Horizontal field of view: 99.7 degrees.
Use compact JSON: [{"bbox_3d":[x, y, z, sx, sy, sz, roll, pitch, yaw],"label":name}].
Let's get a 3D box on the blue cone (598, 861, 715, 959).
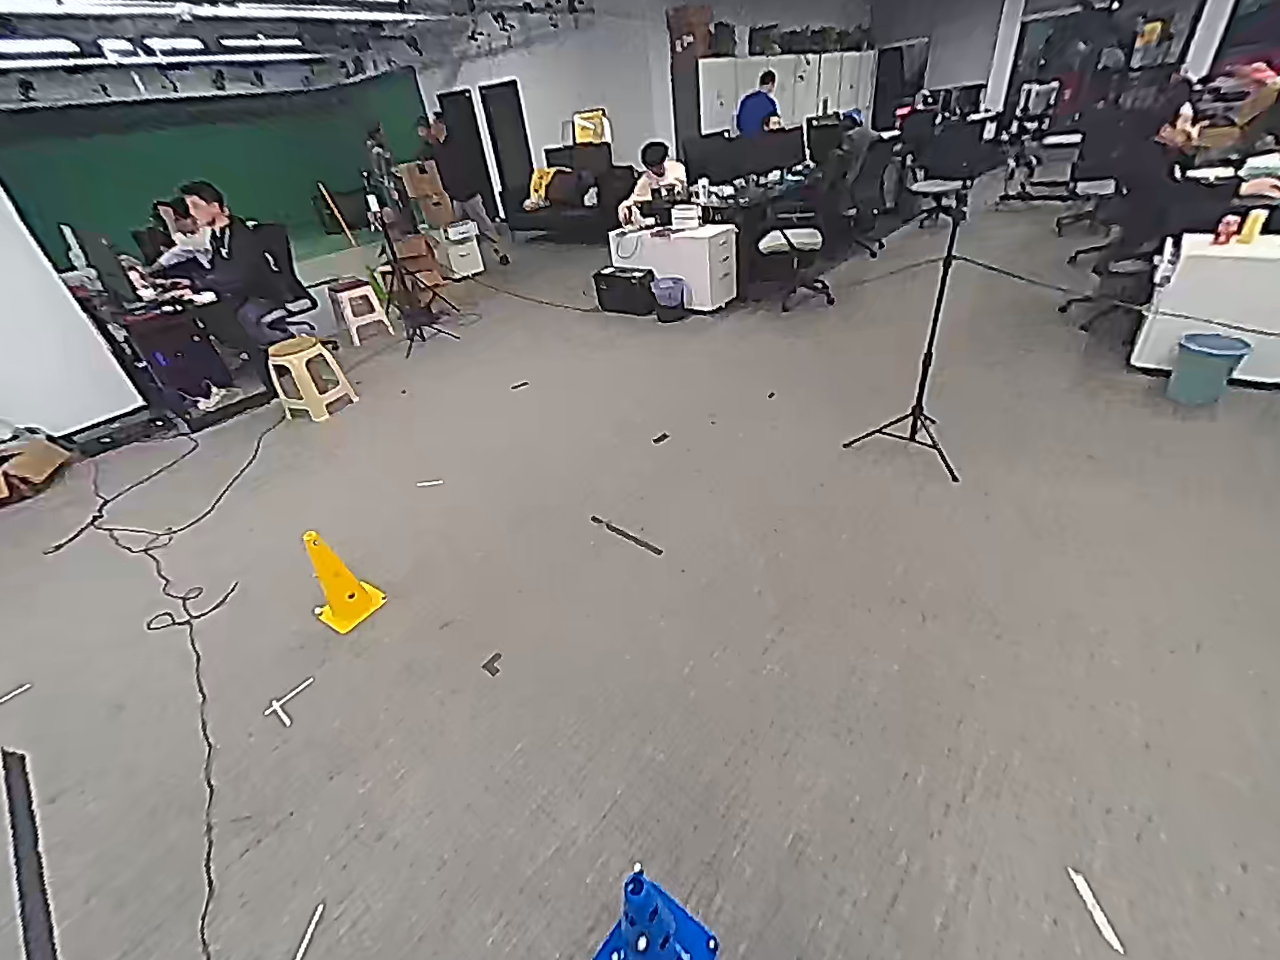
[{"bbox_3d":[0.014,0.825,1.013,0.193,0.380,0.192,21,42,36],"label":"blue cone"}]
